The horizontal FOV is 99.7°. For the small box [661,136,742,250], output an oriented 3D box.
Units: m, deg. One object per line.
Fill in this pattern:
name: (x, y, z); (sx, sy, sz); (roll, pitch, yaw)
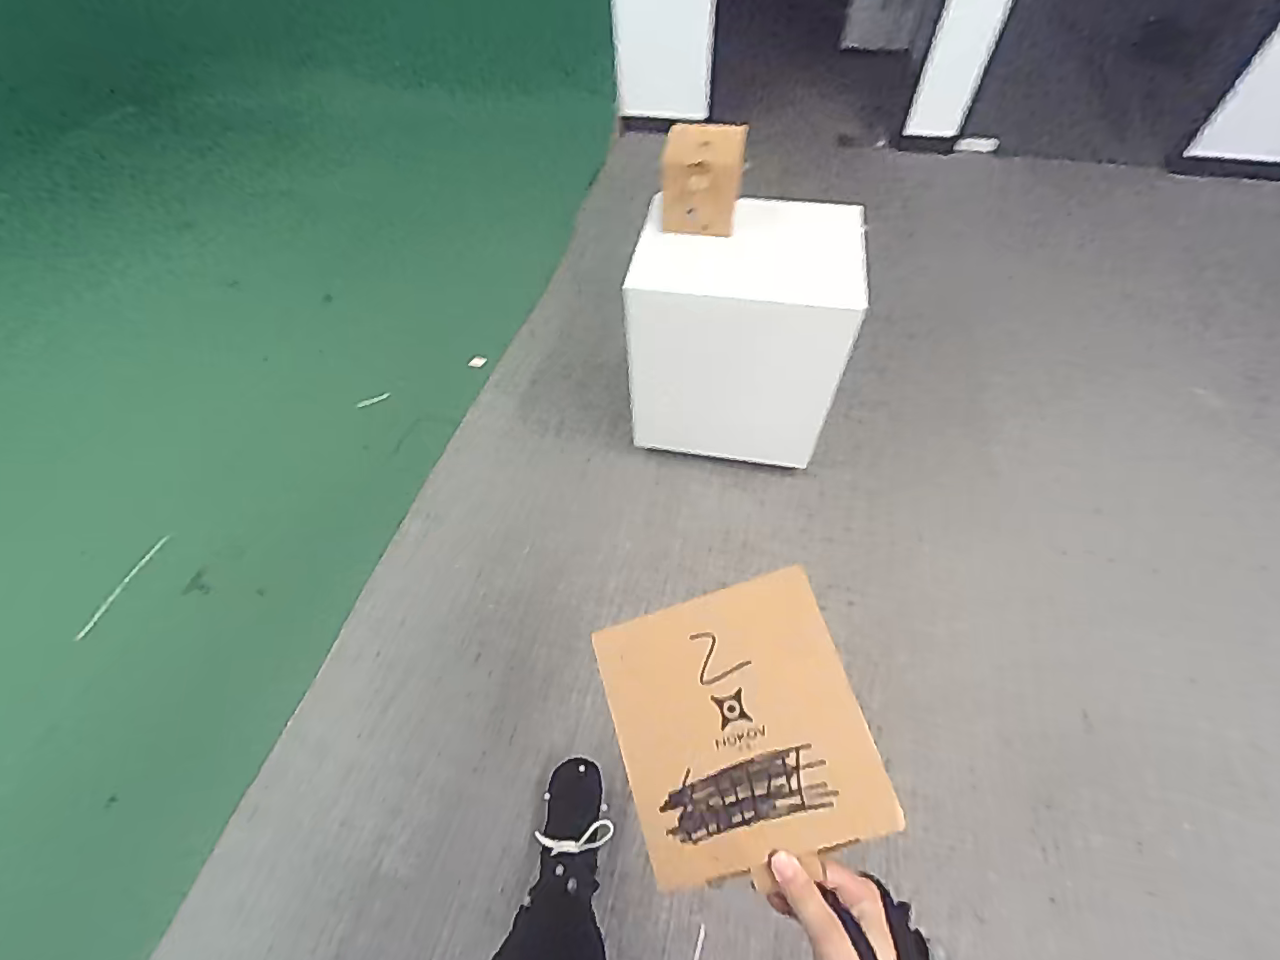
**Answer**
small box: (0.140, -0.670, 1.264); (0.168, 0.176, 0.179); (7, 57, 7)
